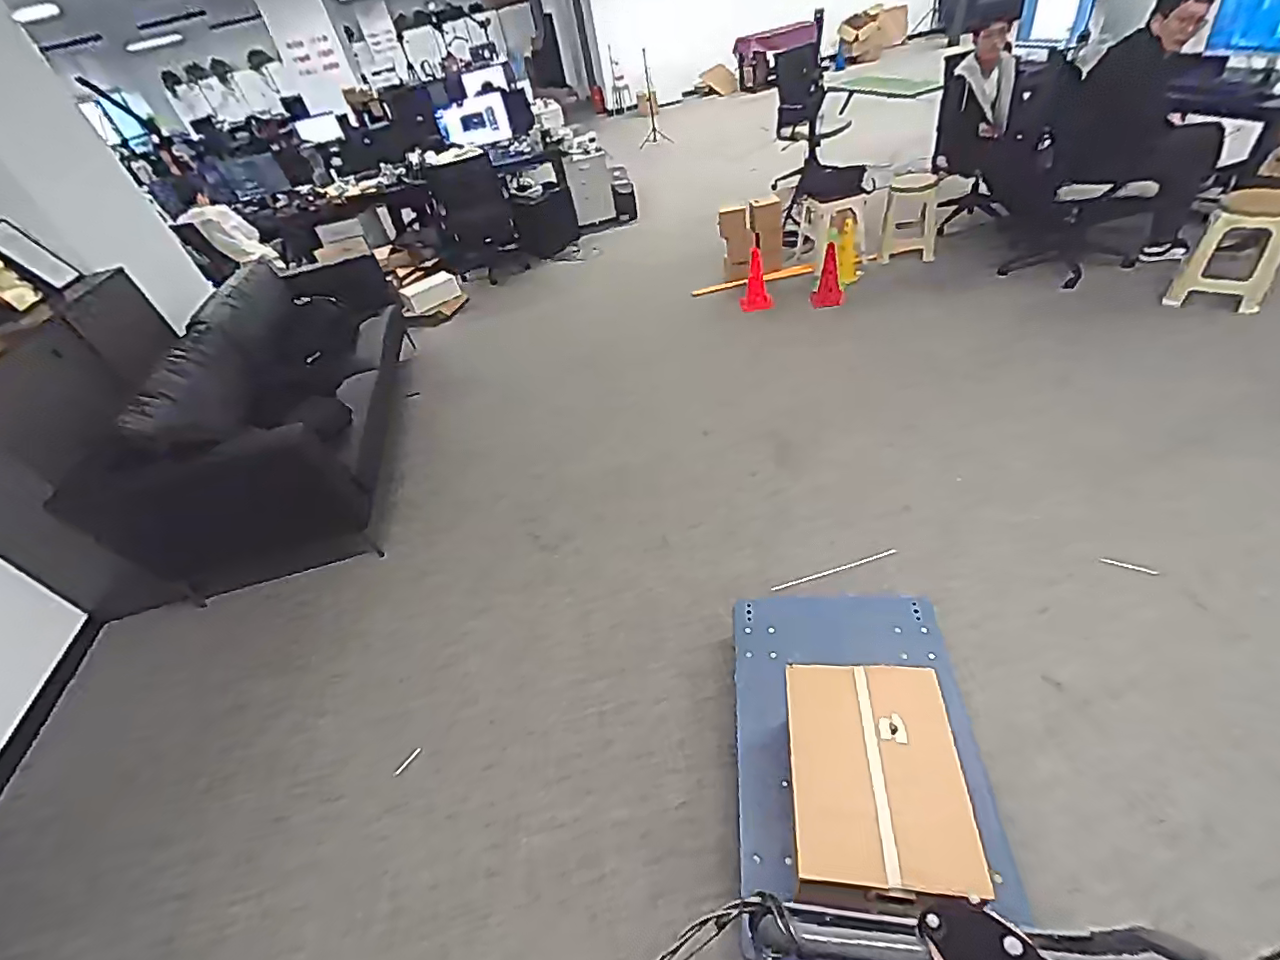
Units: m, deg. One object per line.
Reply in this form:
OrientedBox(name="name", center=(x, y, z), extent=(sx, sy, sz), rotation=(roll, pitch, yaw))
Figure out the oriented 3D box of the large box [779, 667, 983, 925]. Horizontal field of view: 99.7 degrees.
OrientedBox(name="large box", center=(0.472, 0.667, 1.164), extent=(0.320, 0.320, 0.408), rotation=(-2, 43, 12))
